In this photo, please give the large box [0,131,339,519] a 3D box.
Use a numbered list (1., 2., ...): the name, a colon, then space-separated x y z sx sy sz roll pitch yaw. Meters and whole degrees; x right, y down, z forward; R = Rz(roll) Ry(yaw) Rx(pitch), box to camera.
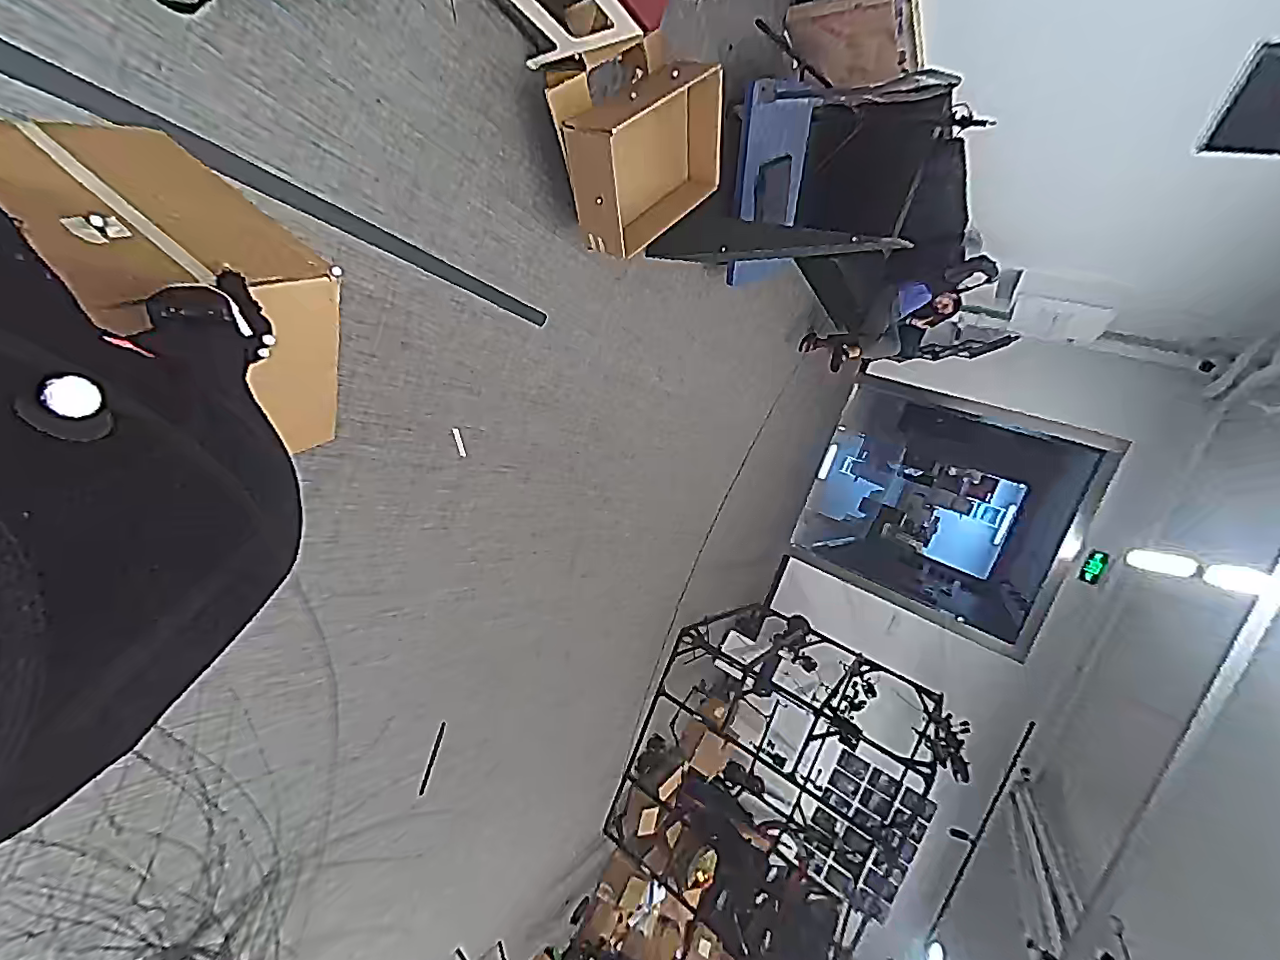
1. large box: -0.706 -0.225 0.764 0.320 0.408 0.320 -39 165 -48
